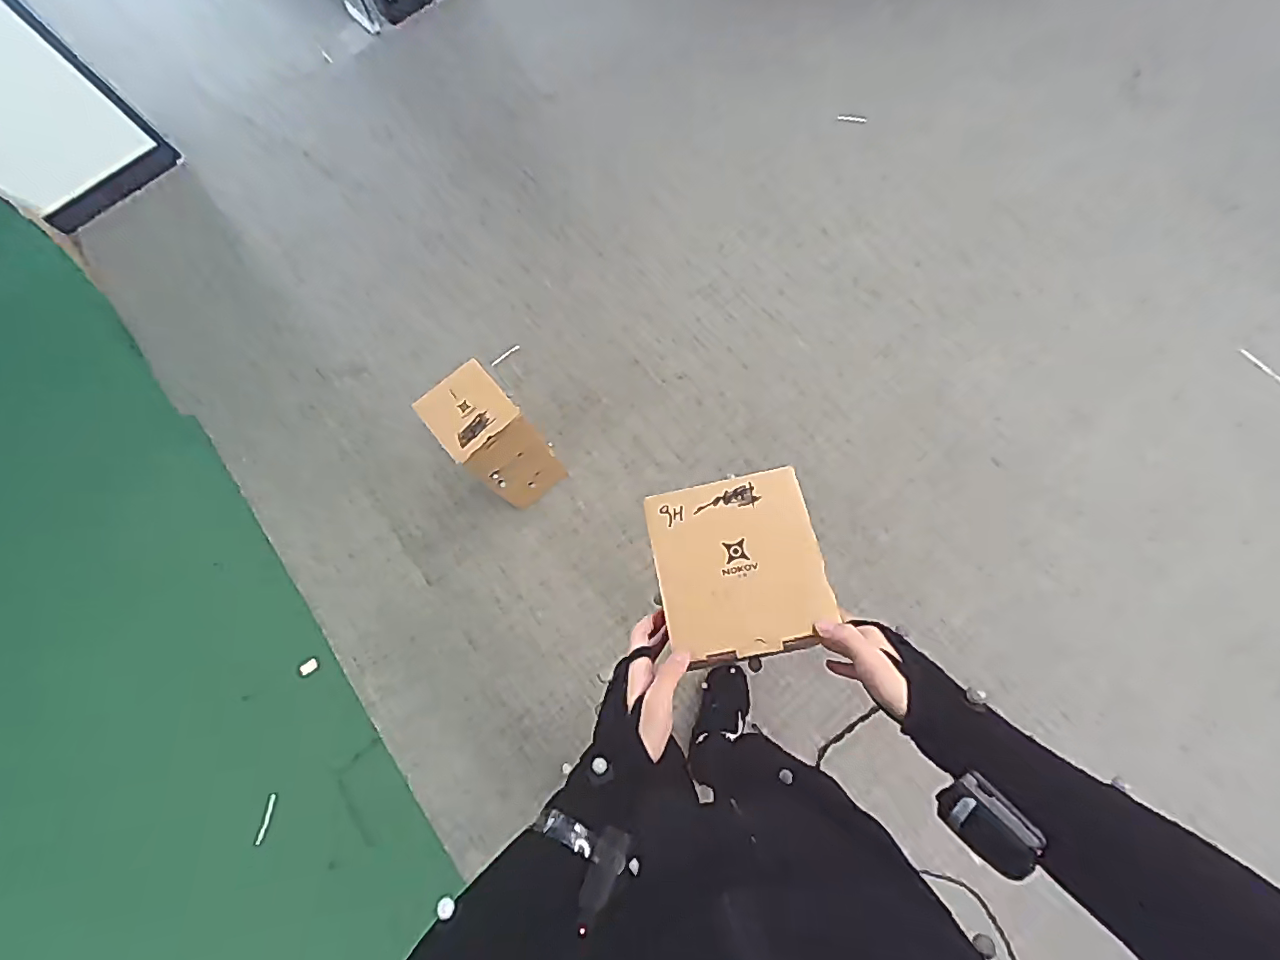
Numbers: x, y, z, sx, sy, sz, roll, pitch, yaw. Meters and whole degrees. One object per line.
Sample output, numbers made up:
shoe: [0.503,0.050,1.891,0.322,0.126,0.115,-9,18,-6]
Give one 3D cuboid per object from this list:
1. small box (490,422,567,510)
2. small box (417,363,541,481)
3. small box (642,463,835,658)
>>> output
small box: [-0.328,-0.038,1.513,0.179,0.176,0.168,-38,76,-7]
small box: [-0.345,-0.117,1.194,0.168,0.176,0.179,-40,74,-7]
small box: [0.106,0.104,0.627,0.168,0.176,0.179,-13,68,3]
